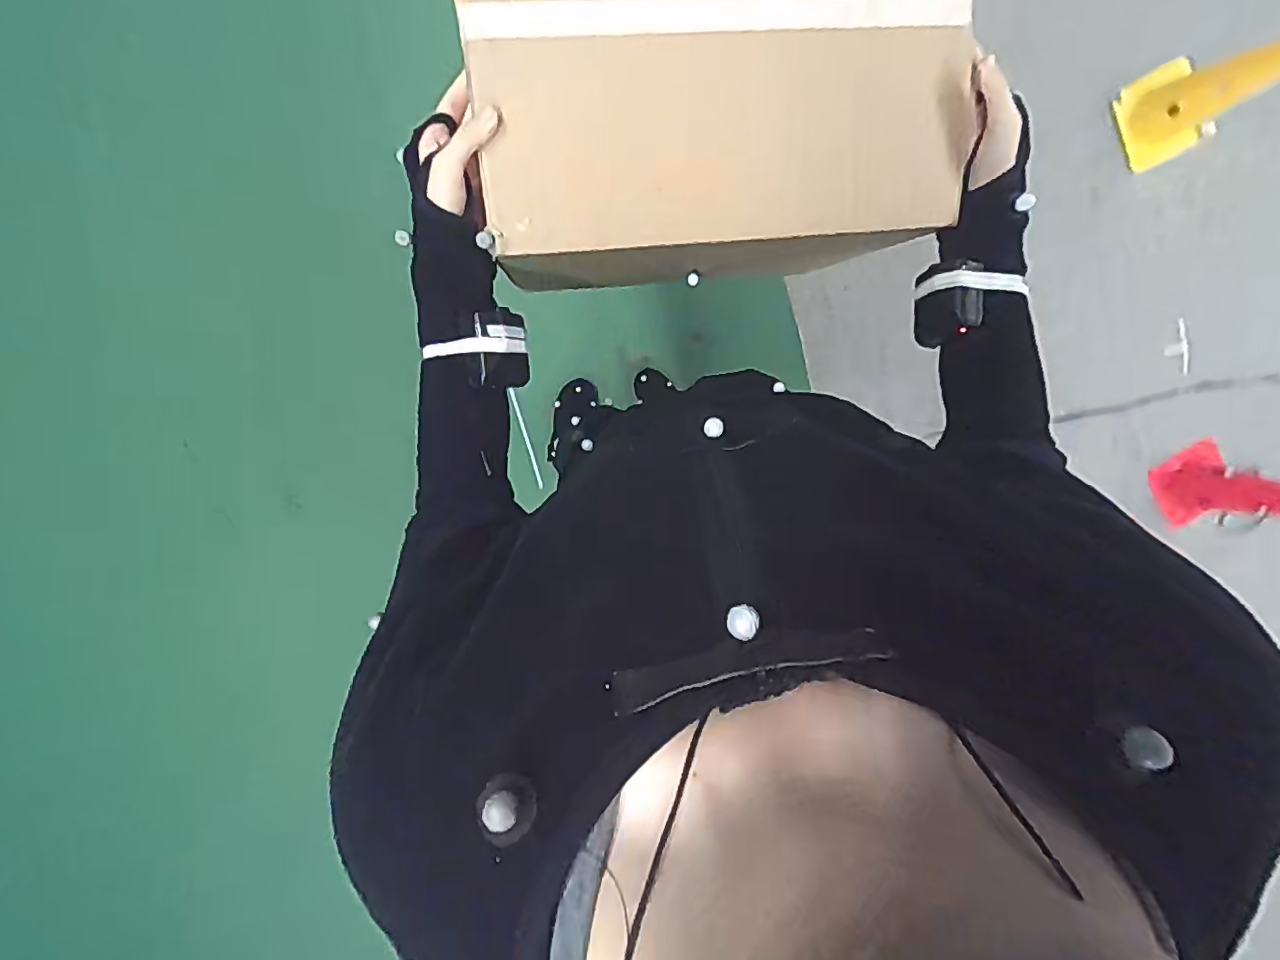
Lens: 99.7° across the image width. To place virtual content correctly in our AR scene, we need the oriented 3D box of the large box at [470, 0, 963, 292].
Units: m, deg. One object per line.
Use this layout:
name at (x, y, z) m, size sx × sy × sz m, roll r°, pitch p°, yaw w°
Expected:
large box at (0.056, -0.387, 0.578) m, size 0.408 × 0.320 × 0.320 m, roll -5°, pitch 103°, yaw -5°
